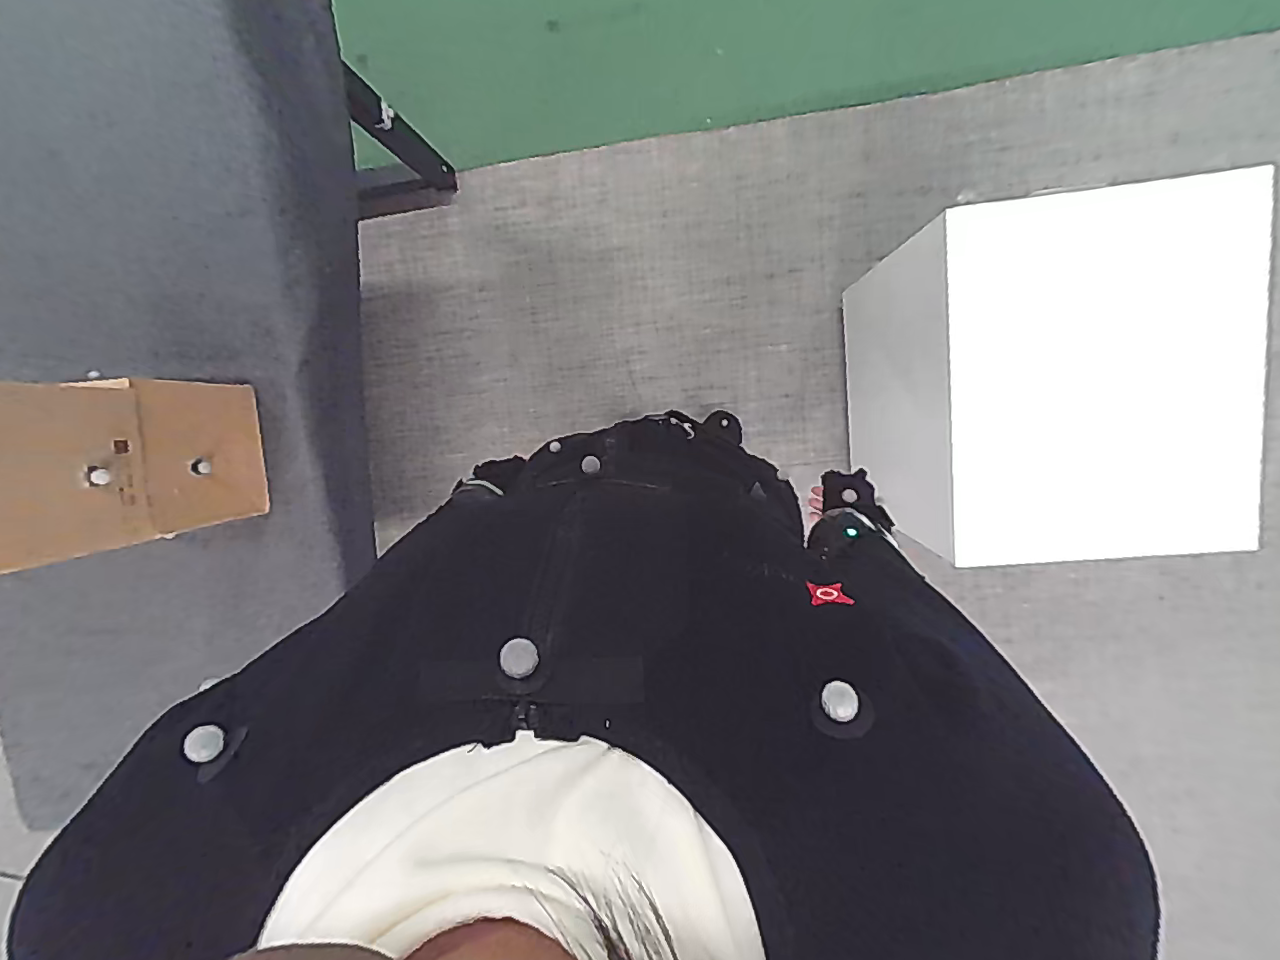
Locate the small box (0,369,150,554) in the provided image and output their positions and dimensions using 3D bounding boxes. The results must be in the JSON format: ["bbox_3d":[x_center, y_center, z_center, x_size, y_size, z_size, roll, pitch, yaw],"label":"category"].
[{"bbox_3d":[-0.634,-0.016,0.516,0.179,0.176,0.168,-2,97,9],"label":"small box"}]

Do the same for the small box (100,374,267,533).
[{"bbox_3d":[-0.608,-0.038,0.677,0.168,0.176,0.179,-2,98,7],"label":"small box"}]
